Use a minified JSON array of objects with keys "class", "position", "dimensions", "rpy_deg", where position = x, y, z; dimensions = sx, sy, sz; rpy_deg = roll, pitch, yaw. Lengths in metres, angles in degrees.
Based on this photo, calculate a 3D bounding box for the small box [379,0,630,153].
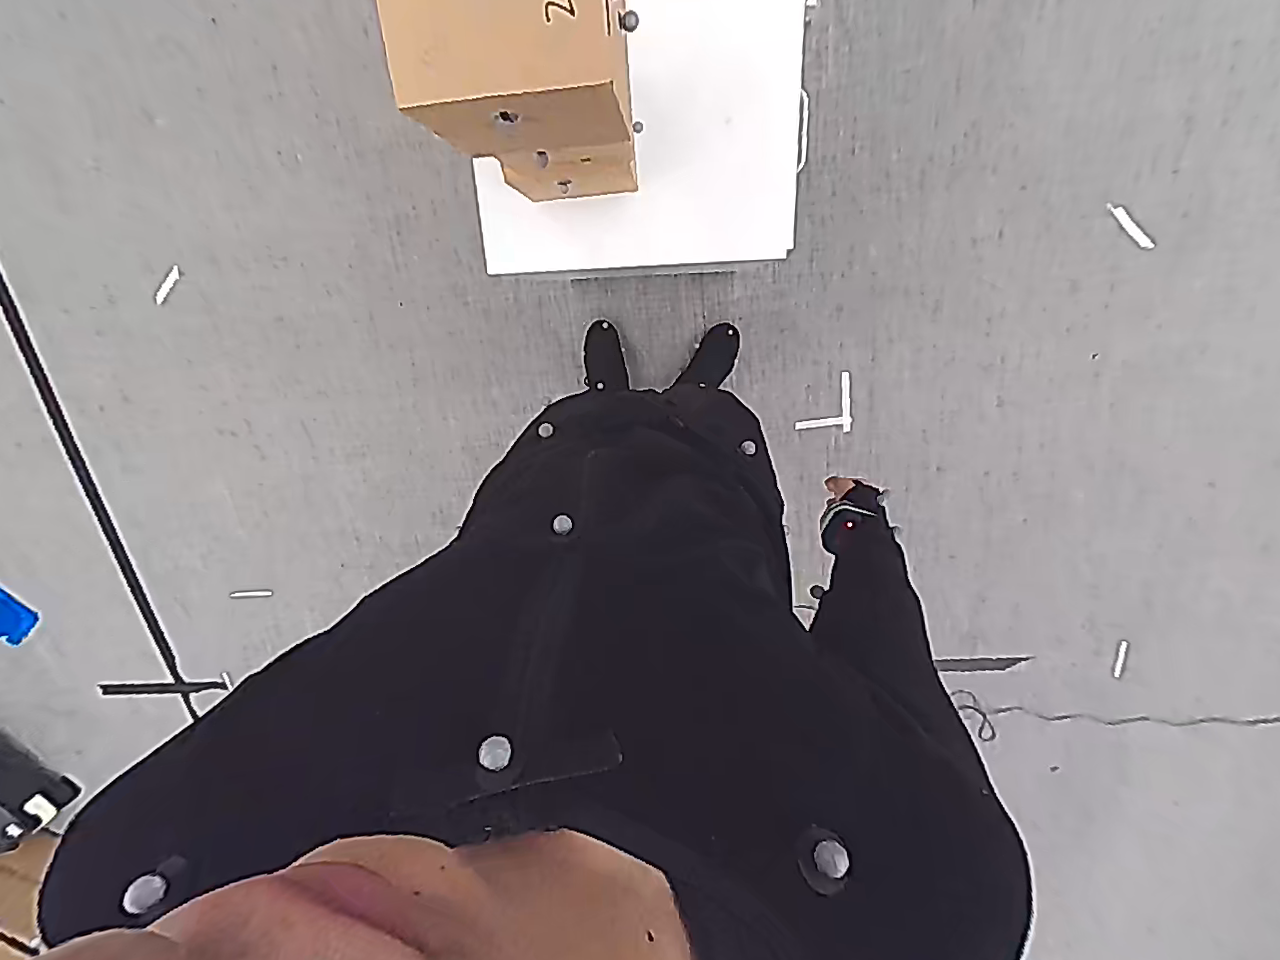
[{"class":"small box","position":[-0.107,-0.402,0.471],"dimensions":[0.179,0.176,0.168],"rpy_deg":[-3,109,4]}]

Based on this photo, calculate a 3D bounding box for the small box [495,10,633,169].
[{"class":"small box","position":[-0.100,-0.473,0.621],"dimensions":[0.168,0.176,0.179],"rpy_deg":[-3,108,4]}]

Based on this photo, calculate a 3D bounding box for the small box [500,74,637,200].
[{"class":"small box","position":[-0.101,-0.513,0.779],"dimensions":[0.179,0.176,0.168],"rpy_deg":[-4,109,4]}]
